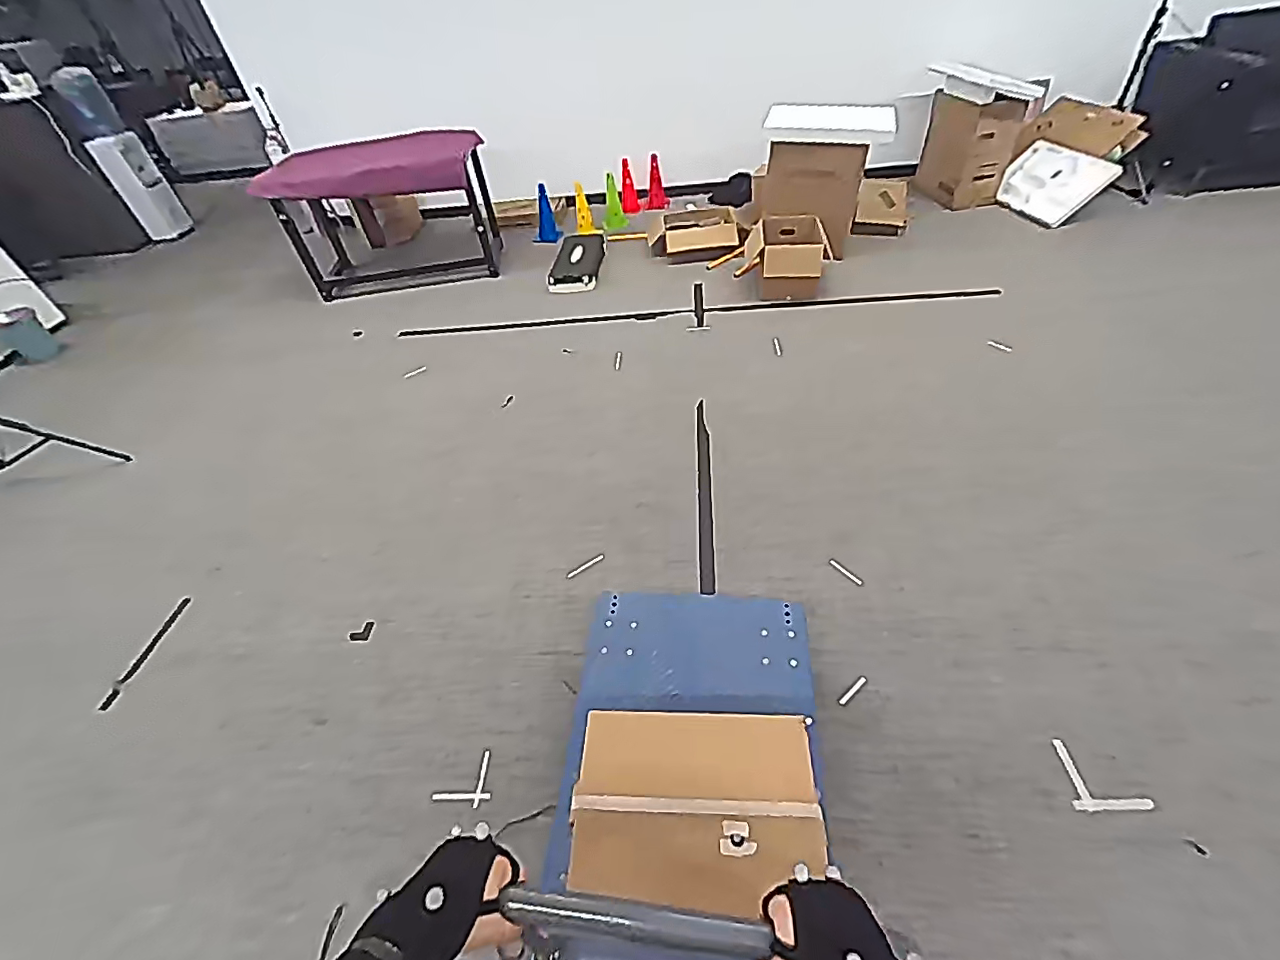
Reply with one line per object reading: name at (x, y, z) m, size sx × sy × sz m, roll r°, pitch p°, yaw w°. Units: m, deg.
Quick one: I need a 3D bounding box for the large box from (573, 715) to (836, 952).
large box at (0.109, 0.660, 1.016) m, size 0.408 × 0.320 × 0.320 m, roll -1°, pitch 45°, yaw 5°
